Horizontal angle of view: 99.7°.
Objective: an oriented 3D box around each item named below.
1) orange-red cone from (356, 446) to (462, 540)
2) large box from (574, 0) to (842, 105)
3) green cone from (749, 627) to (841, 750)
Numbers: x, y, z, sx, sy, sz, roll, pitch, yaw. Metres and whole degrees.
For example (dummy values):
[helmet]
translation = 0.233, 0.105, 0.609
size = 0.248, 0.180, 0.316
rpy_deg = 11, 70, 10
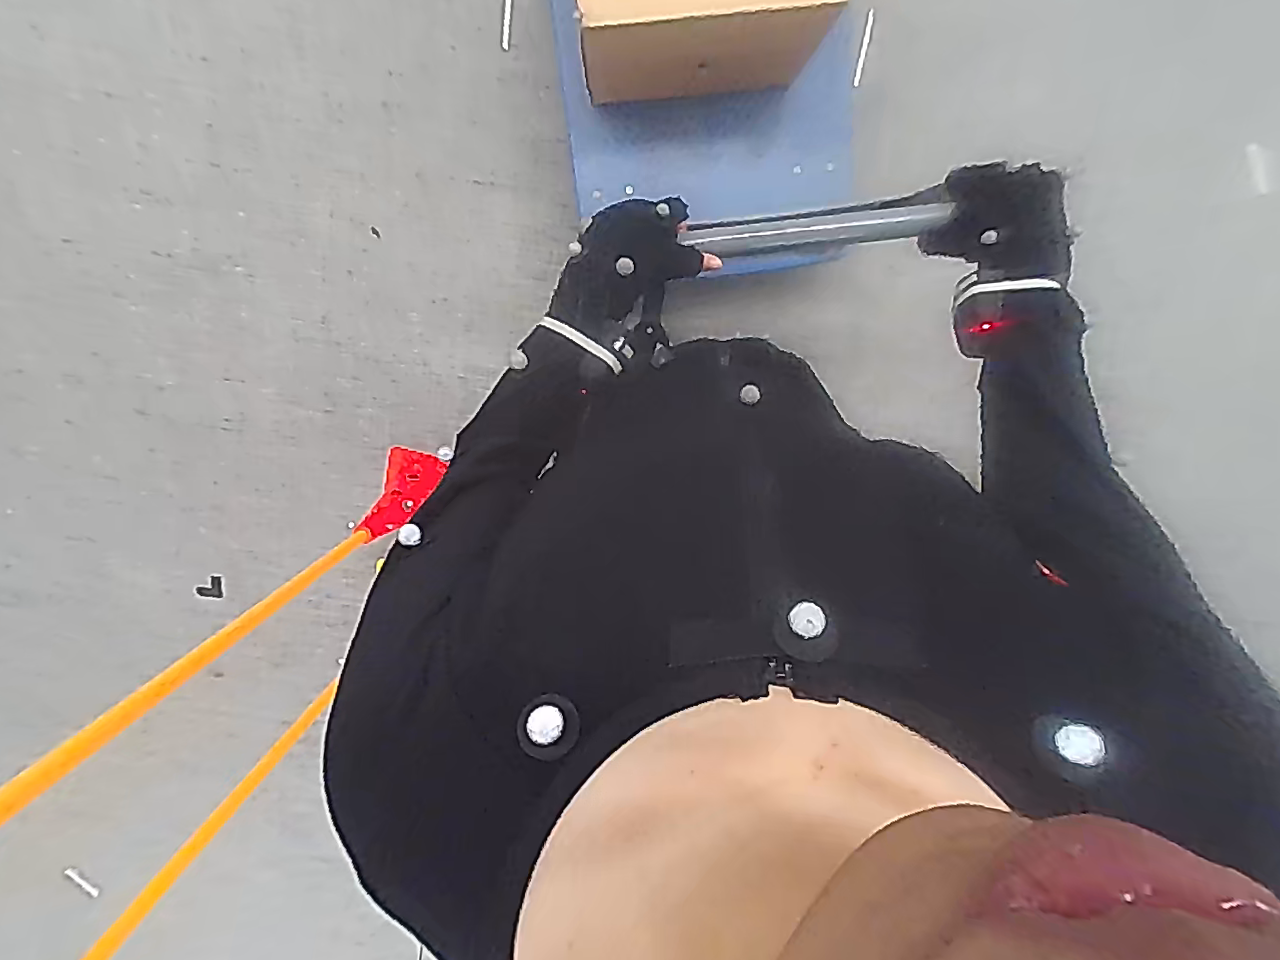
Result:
[orange-red cone]
translation = -0.589, 0.063, 1.304
size = 0.198, 0.360, 0.199
rpy_deg = 15, 103, -6
[large box]
translation = 0.089, -0.875, 0.906
size = 0.408, 0.320, 0.320
rpy_deg = -5, 107, 1
[green cone]
translation = 0.452, 0.590, 1.476
size = 0.202, 0.368, 0.200
rpy_deg = 11, 105, -6
